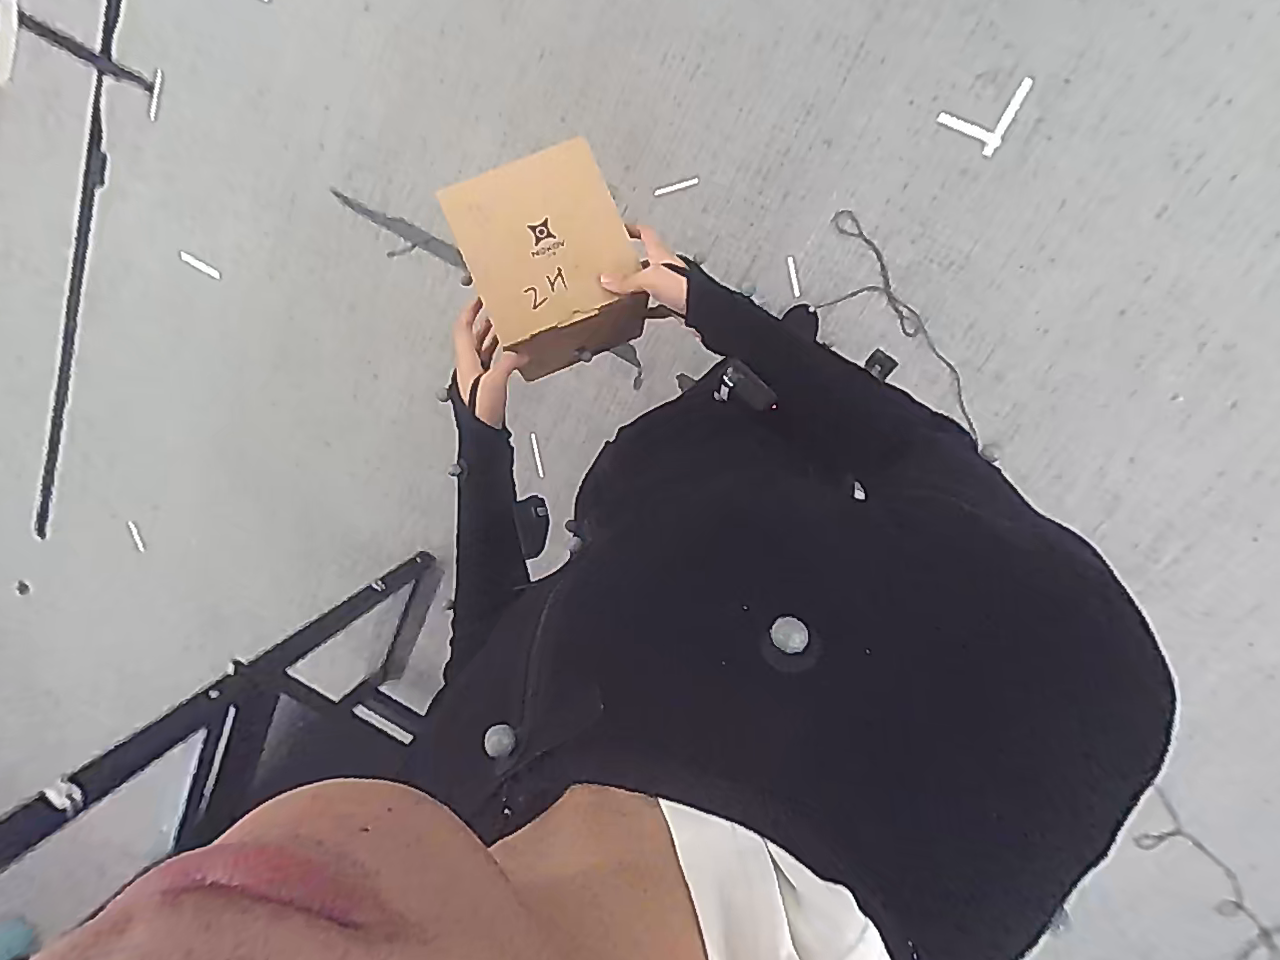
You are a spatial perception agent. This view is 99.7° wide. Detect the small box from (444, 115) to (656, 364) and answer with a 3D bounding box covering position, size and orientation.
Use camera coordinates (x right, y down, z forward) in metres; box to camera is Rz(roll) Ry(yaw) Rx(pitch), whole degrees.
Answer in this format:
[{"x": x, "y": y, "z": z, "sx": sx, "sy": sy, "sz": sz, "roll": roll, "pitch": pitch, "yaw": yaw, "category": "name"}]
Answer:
[{"x": -0.094, "y": -0.256, "z": 0.617, "sx": 0.168, "sy": 0.176, "sz": 0.179, "roll": -22, "pitch": 90, "yaw": -3, "category": "small box"}]
